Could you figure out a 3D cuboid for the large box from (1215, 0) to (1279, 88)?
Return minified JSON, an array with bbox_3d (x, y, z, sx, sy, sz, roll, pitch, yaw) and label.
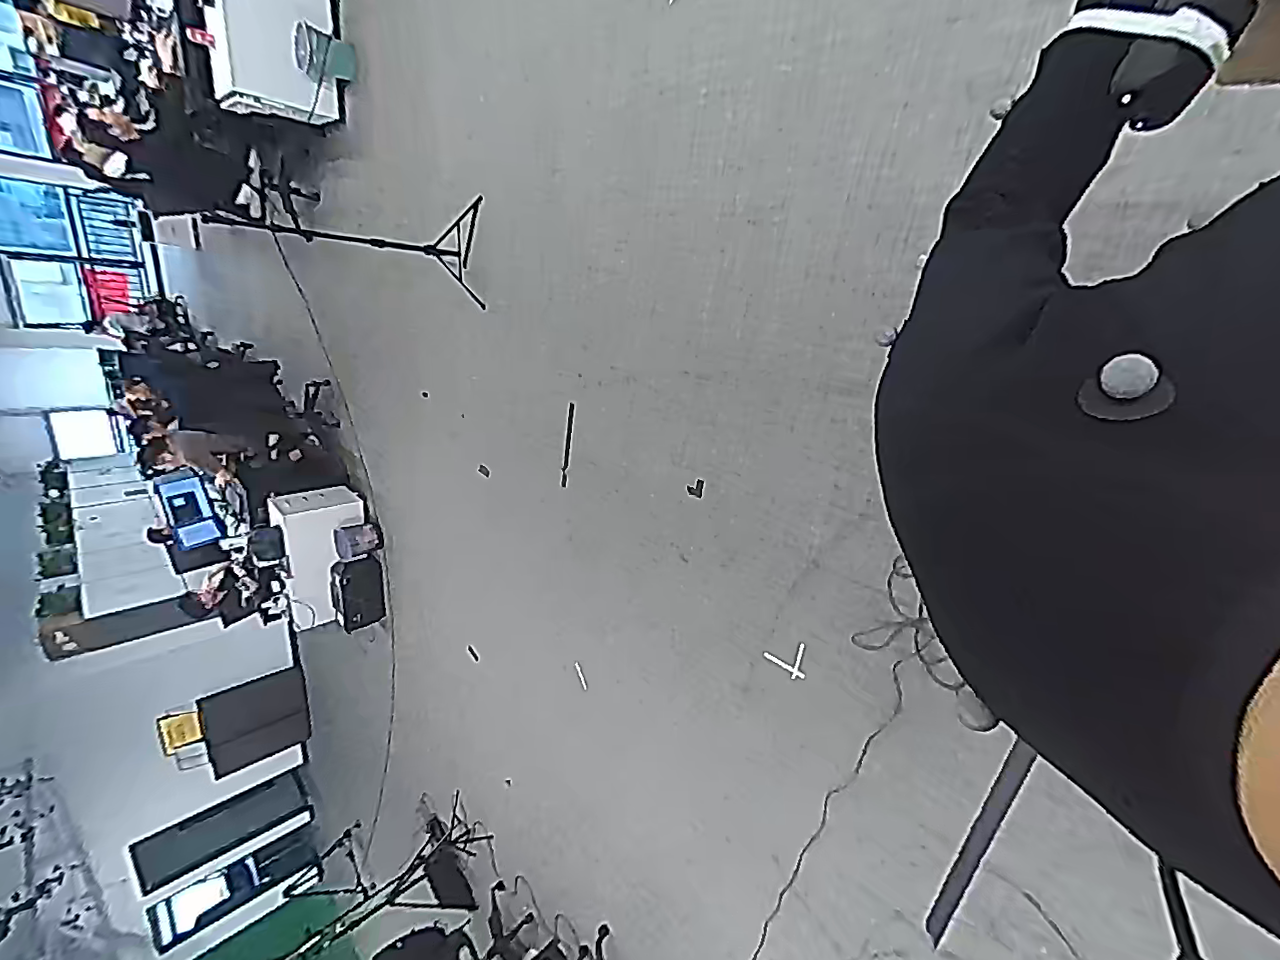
[{"bbox_3d":[0.623,-0.418,0.255,0.408,0.320,0.320,27,123,36],"label":"large box"}]
